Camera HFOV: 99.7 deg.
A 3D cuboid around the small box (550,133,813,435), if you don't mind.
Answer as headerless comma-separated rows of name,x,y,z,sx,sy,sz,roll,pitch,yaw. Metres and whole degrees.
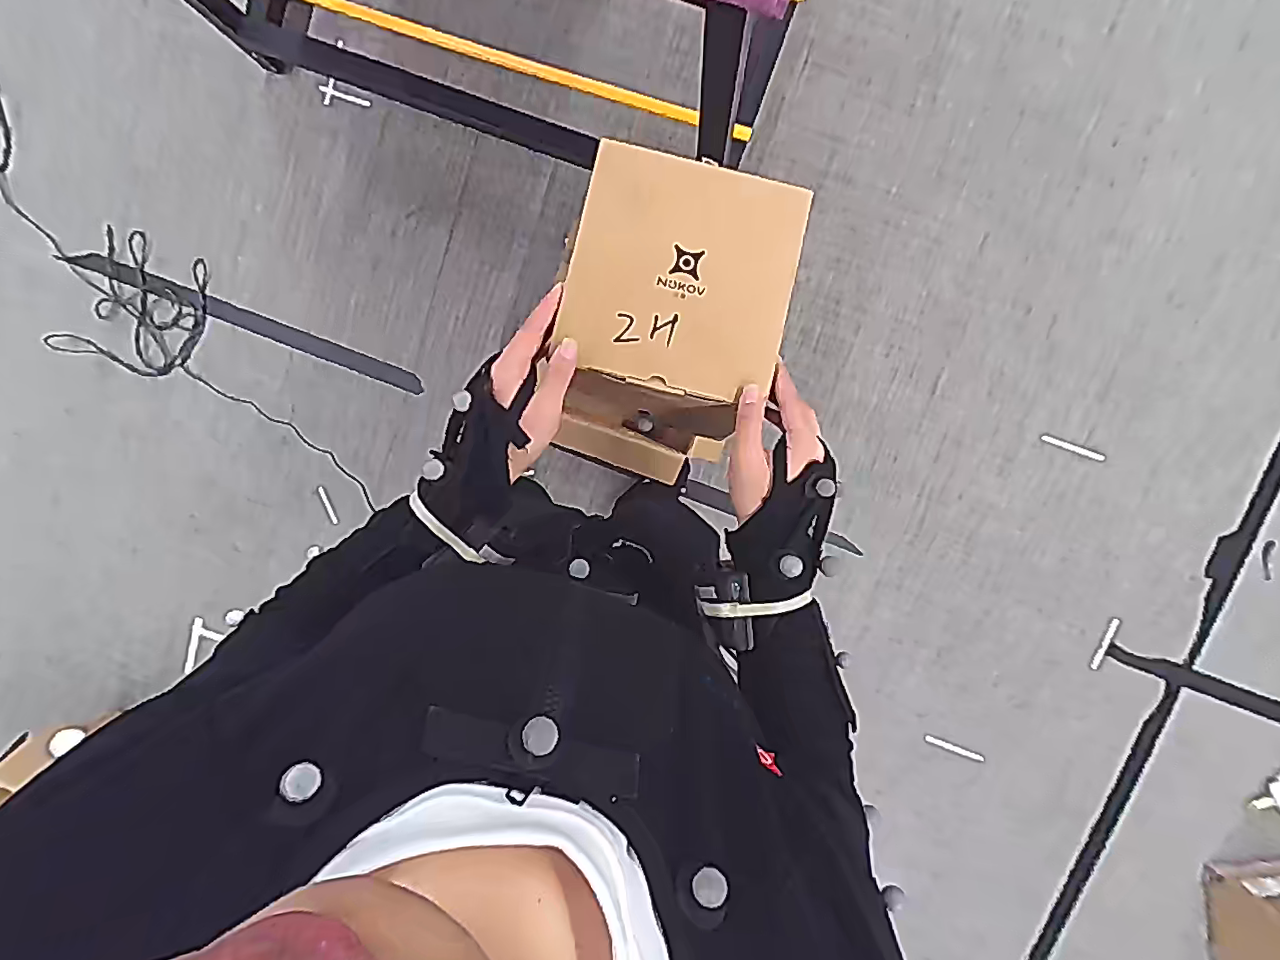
small box,0.029,-0.150,0.475,0.168,0.176,0.179,14,87,-1
